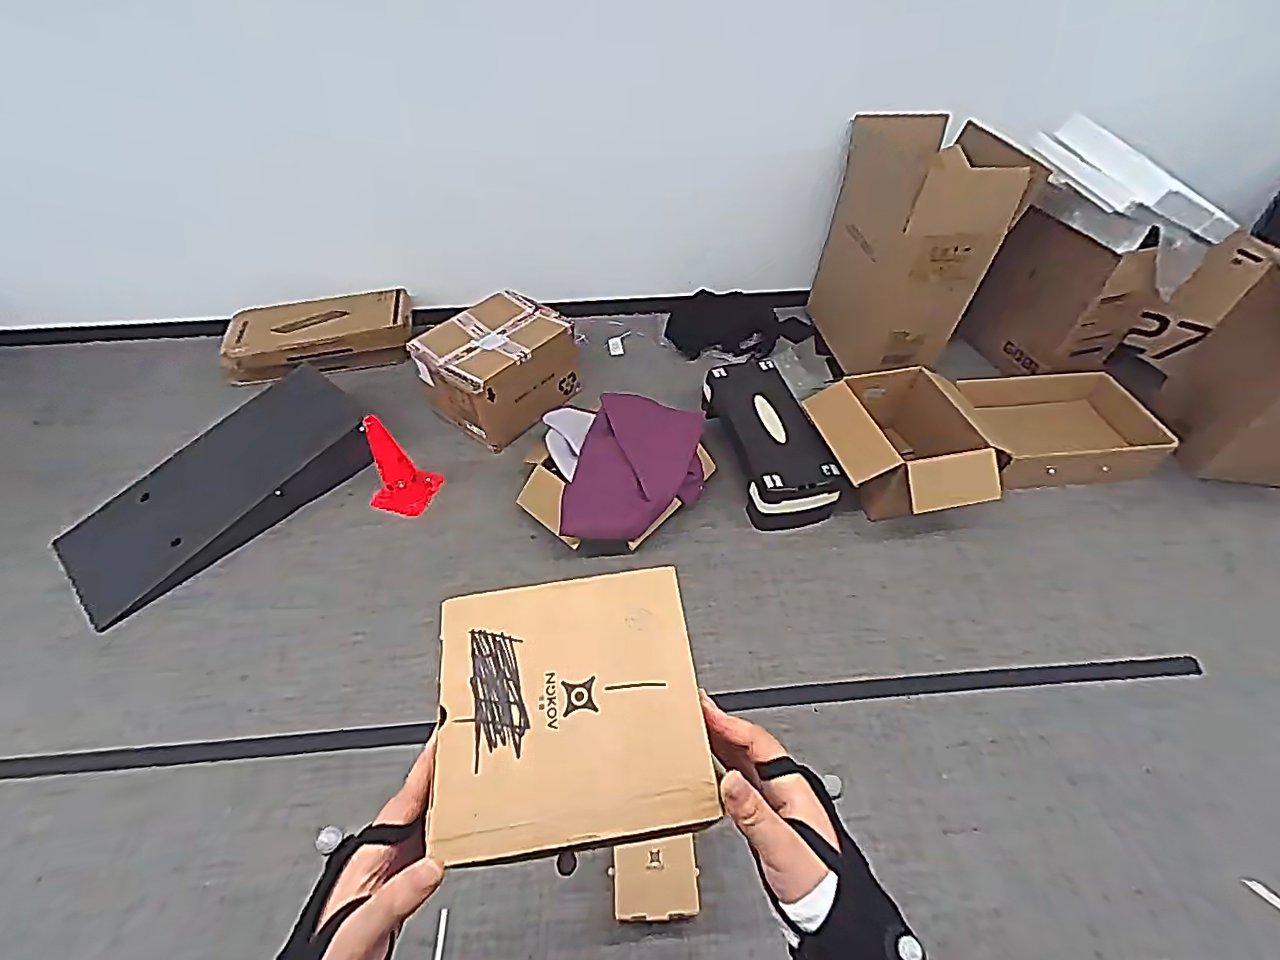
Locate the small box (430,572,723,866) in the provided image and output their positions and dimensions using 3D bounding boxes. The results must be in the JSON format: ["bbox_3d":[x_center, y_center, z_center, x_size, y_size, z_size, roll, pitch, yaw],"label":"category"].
[{"bbox_3d":[-0.042,0.191,0.422,0.179,0.176,0.168,-8,56,-3],"label":"small box"}]

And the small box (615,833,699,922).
[{"bbox_3d":[0.032,0.827,1.152,0.168,0.176,0.179,-2,50,-1],"label":"small box"}]
